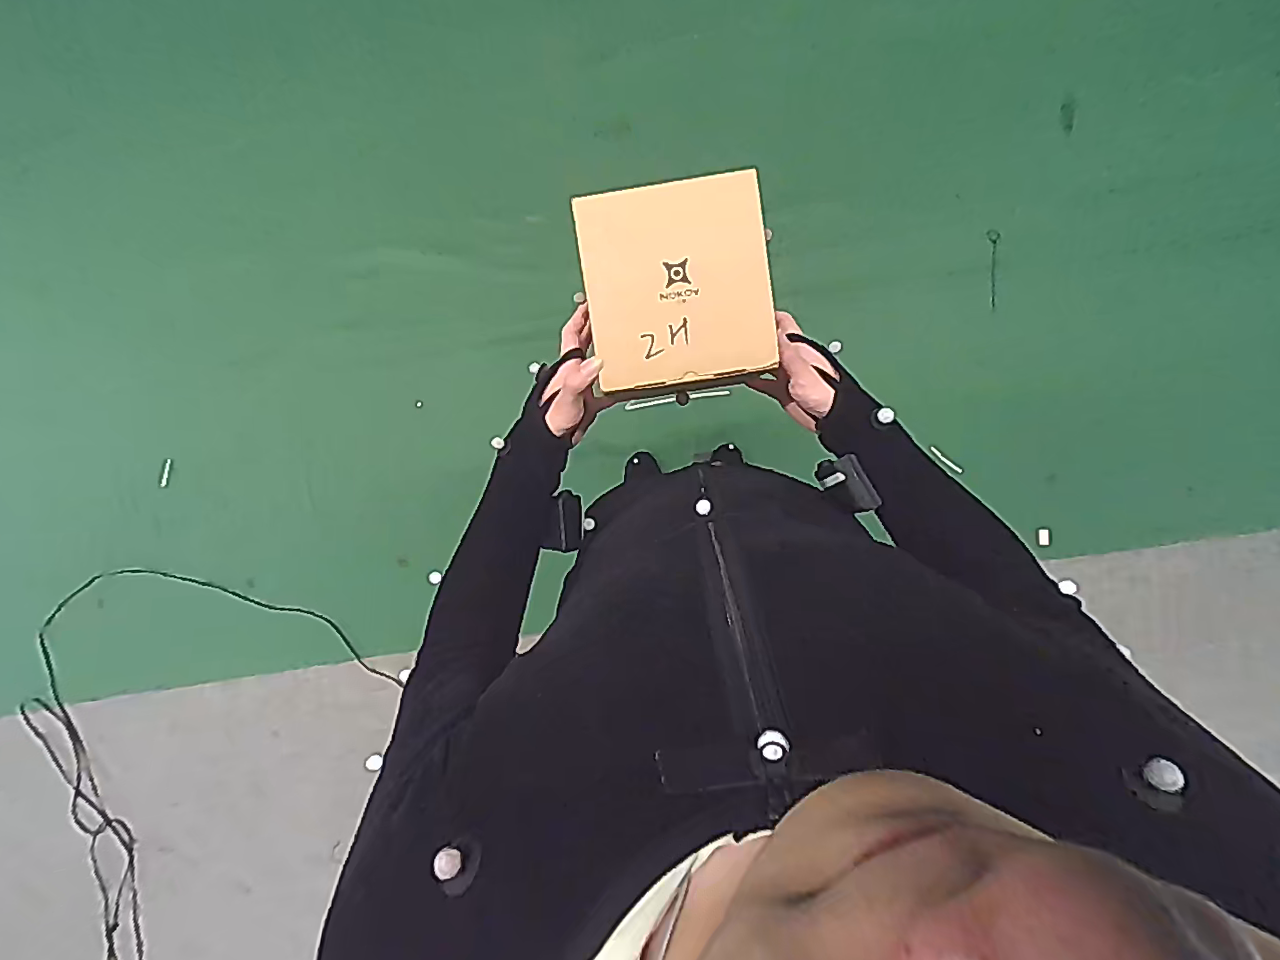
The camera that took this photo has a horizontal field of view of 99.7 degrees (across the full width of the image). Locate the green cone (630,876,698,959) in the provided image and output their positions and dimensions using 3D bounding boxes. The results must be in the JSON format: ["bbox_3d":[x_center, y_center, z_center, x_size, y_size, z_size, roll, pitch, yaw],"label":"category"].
[{"bbox_3d":[0.068,1.368,1.546,0.202,0.368,0.200,-7,93,3],"label":"green cone"}]
